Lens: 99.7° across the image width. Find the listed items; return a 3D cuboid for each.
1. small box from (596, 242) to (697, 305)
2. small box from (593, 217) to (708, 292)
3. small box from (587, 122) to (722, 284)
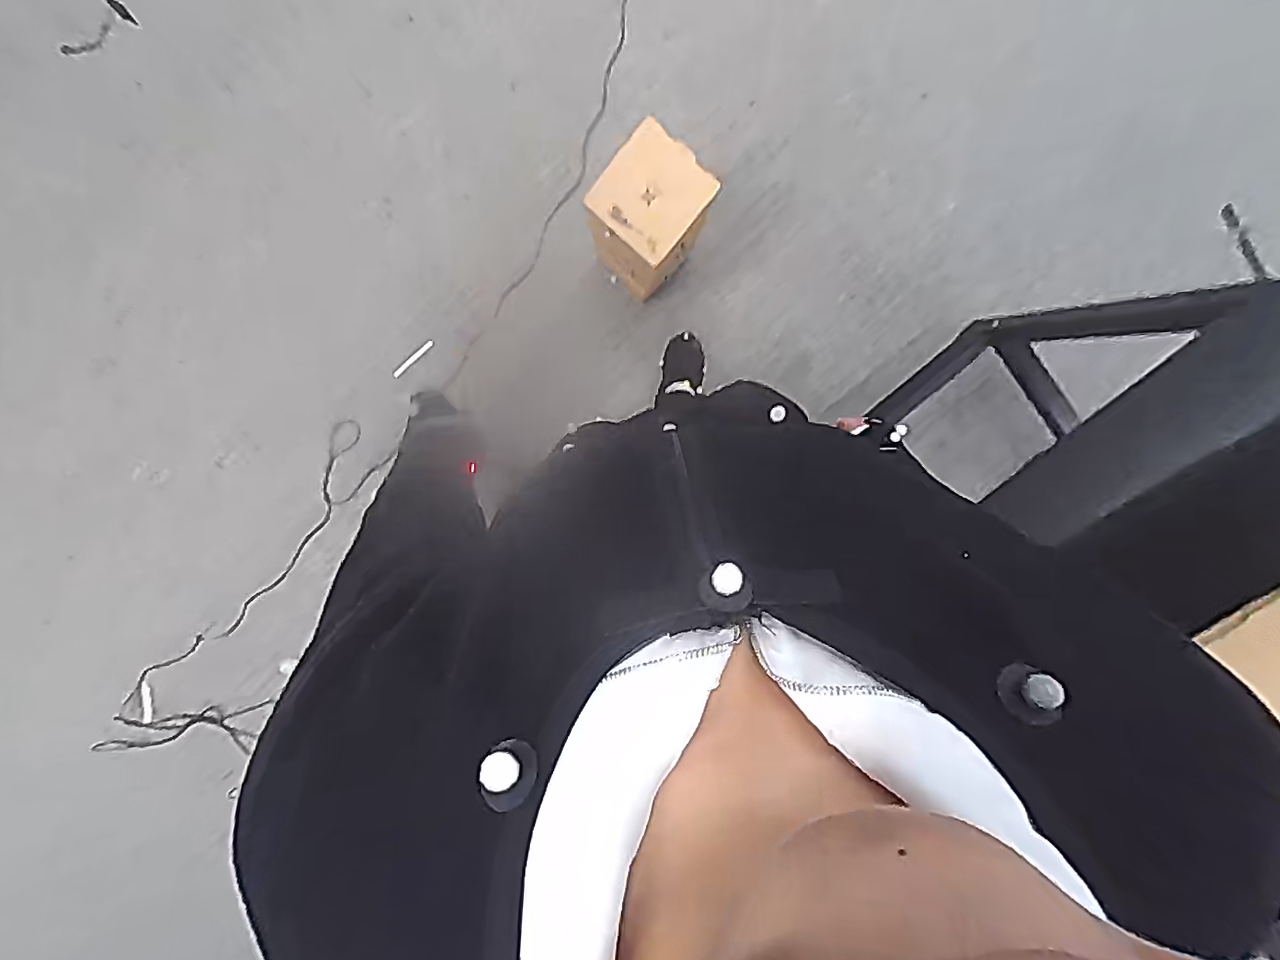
[{"bbox_3d":[0.012,-0.551,1.309,0.179,0.176,0.168,-43,99,7],"label":"small box"},{"bbox_3d":[0.019,-0.526,1.150,0.168,0.176,0.179,42,96,-9],"label":"small box"},{"bbox_3d":[0.020,-0.491,0.988,0.168,0.176,0.179,40,96,-7],"label":"small box"}]
